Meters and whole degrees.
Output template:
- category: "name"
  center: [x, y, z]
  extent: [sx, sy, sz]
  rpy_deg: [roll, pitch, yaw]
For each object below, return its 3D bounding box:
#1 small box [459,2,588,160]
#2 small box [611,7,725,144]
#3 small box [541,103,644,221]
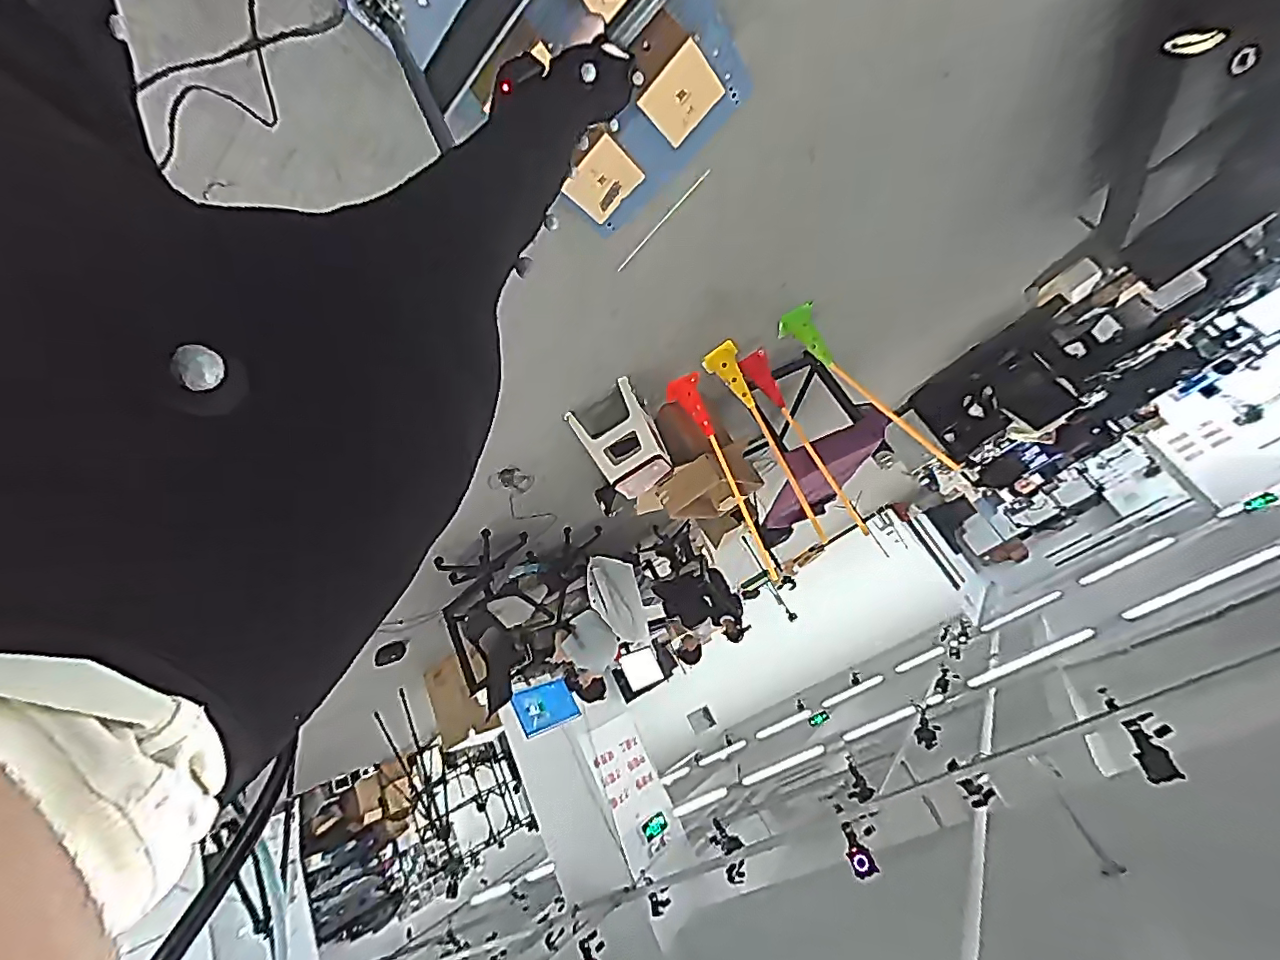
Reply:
- category: "small box"
  center: [-0.246, -0.838, 1.141]
  extent: [0.168, 0.176, 0.179]
  rpy_deg: [-37, 156, 19]
- category: "small box"
  center: [0.062, -0.947, 1.263]
  extent: [0.168, 0.176, 0.179]
  rpy_deg: [-39, 156, 25]
- category: "small box"
  center: [-0.127, -0.803, 1.355]
  extent: [0.168, 0.176, 0.179]
  rpy_deg: [-39, 155, 22]
